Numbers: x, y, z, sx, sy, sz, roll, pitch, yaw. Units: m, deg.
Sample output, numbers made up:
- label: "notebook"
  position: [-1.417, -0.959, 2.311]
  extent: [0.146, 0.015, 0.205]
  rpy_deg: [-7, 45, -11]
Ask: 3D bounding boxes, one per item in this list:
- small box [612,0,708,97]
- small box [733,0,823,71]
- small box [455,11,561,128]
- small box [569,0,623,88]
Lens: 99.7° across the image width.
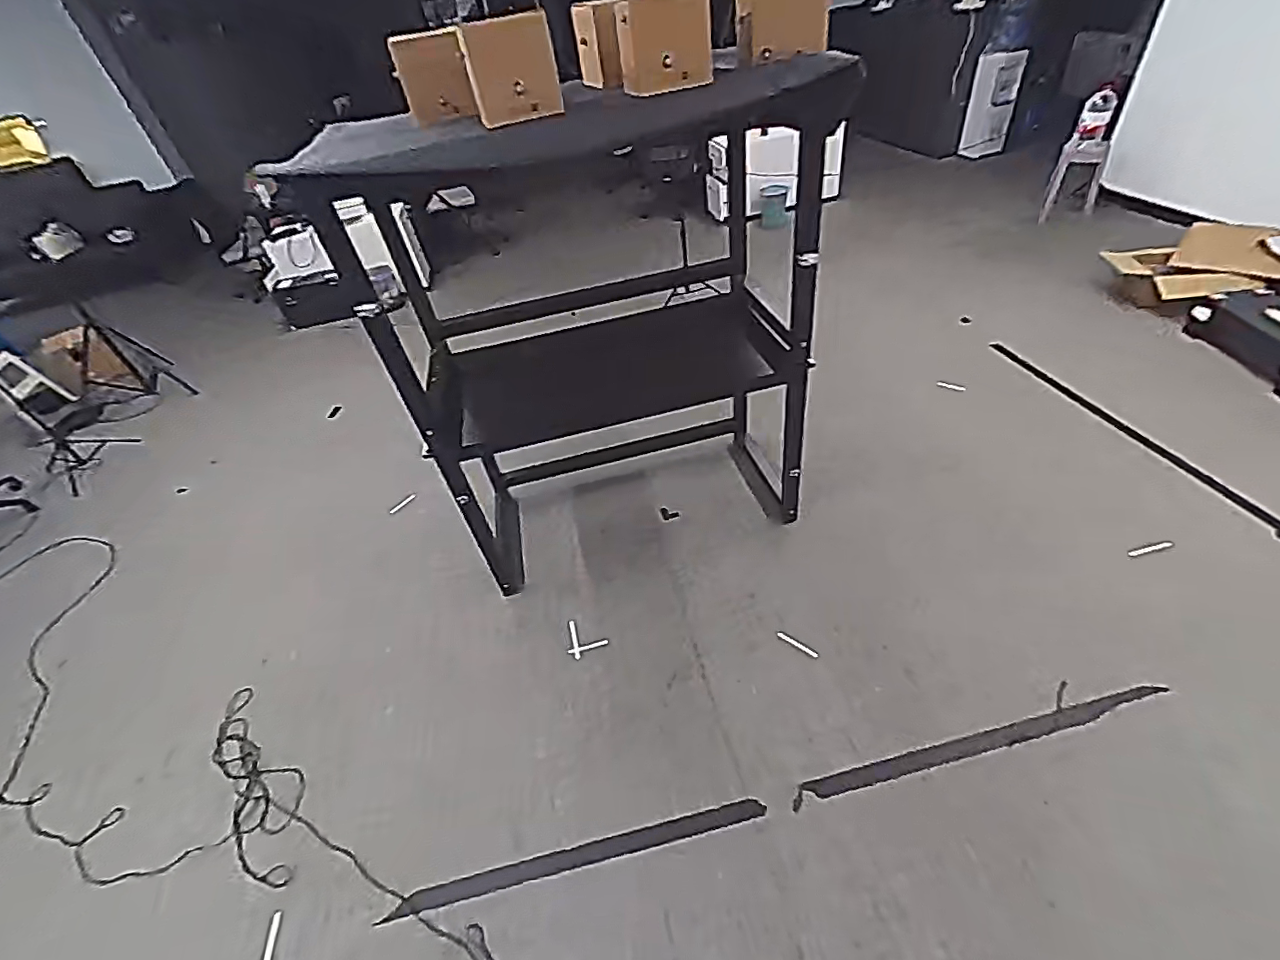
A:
- label: "small box"
  position: [0.044, -0.947, 1.172]
  extent: [0.168, 0.176, 0.179]
  rpy_deg: [-14, 41, -4]
- label: "small box"
  position: [0.305, -1.031, 1.206]
  extent: [0.168, 0.176, 0.179]
  rpy_deg: [-9, 40, 3]
- label: "small box"
  position: [-0.275, -0.850, 1.128]
  extent: [0.168, 0.176, 0.179]
  rpy_deg: [-18, 40, -8]
- label: "small box"
  position: [-0.068, -1.124, 1.387]
  extent: [0.168, 0.176, 0.179]
  rpy_deg: [-21, 43, -11]
